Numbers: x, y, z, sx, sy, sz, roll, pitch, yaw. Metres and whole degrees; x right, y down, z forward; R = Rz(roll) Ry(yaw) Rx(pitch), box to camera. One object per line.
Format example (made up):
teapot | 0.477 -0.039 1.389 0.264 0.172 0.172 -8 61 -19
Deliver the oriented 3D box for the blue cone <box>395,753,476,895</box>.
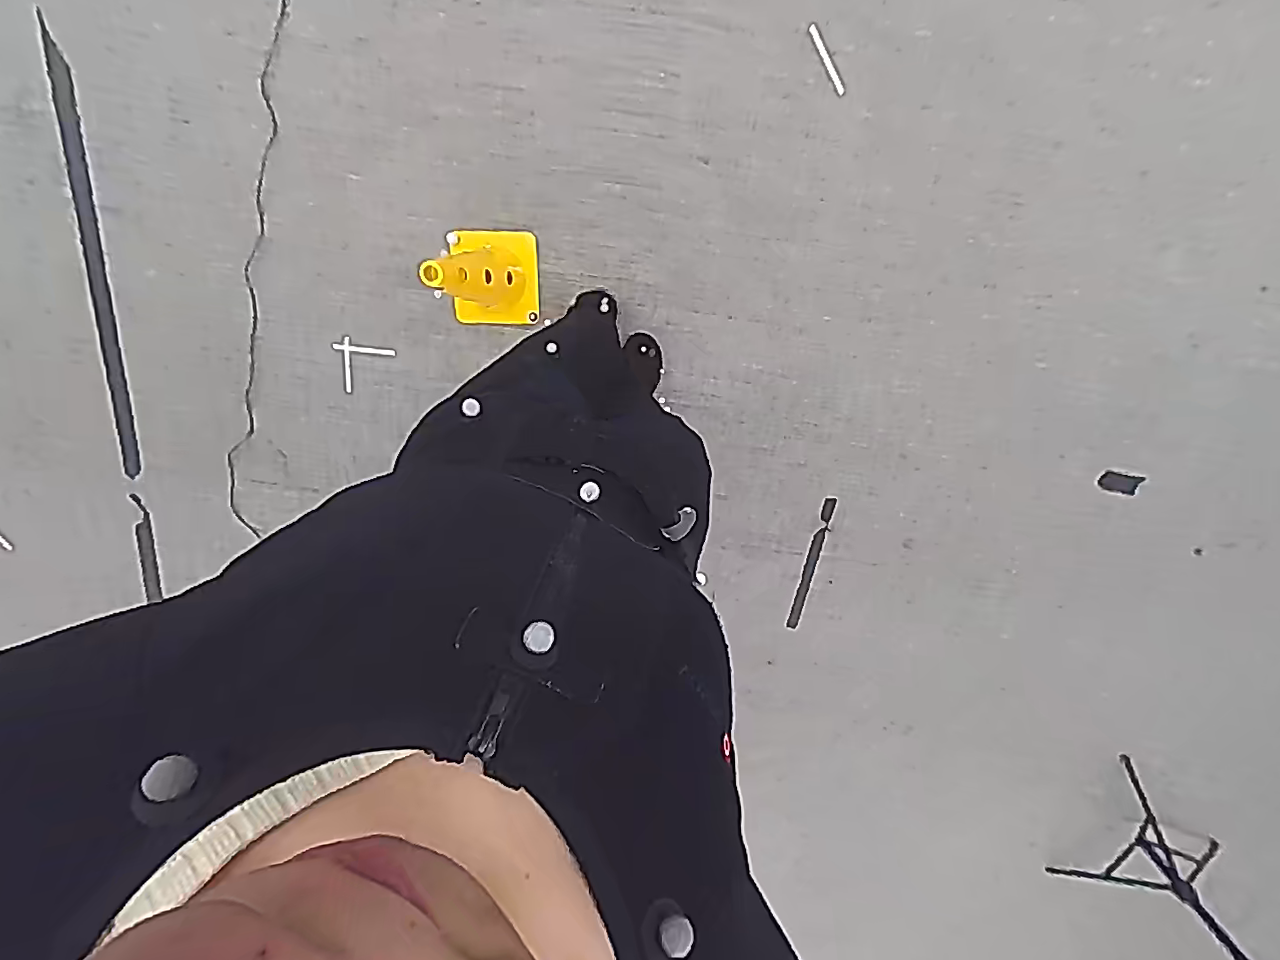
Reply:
blue cone | -0.631 1.014 1.590 0.192 0.380 0.193 9 110 -1
